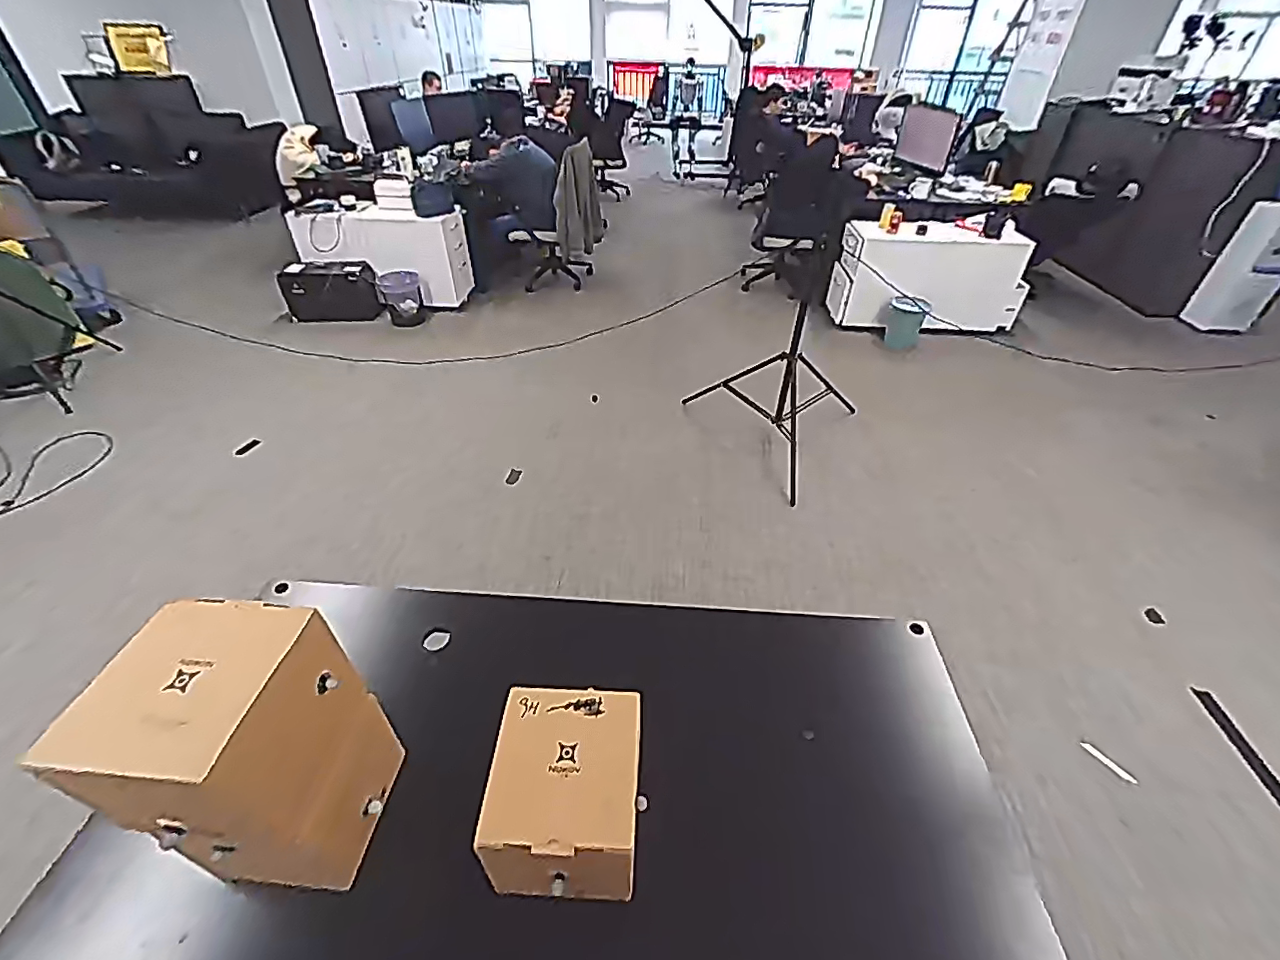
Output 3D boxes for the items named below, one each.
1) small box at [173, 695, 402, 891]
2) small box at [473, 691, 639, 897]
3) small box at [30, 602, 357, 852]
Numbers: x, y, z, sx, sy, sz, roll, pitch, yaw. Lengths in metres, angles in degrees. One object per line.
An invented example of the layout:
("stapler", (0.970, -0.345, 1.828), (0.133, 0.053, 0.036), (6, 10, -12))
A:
("small box", (-0.425, 0.377, 0.664), (0.179, 0.176, 0.168), (5, 39, 3))
("small box", (-0.087, 0.386, 0.666), (0.168, 0.176, 0.179), (2, 39, 1))
("small box", (-0.425, 0.252, 0.561), (0.168, 0.176, 0.179), (2, 40, 3))
